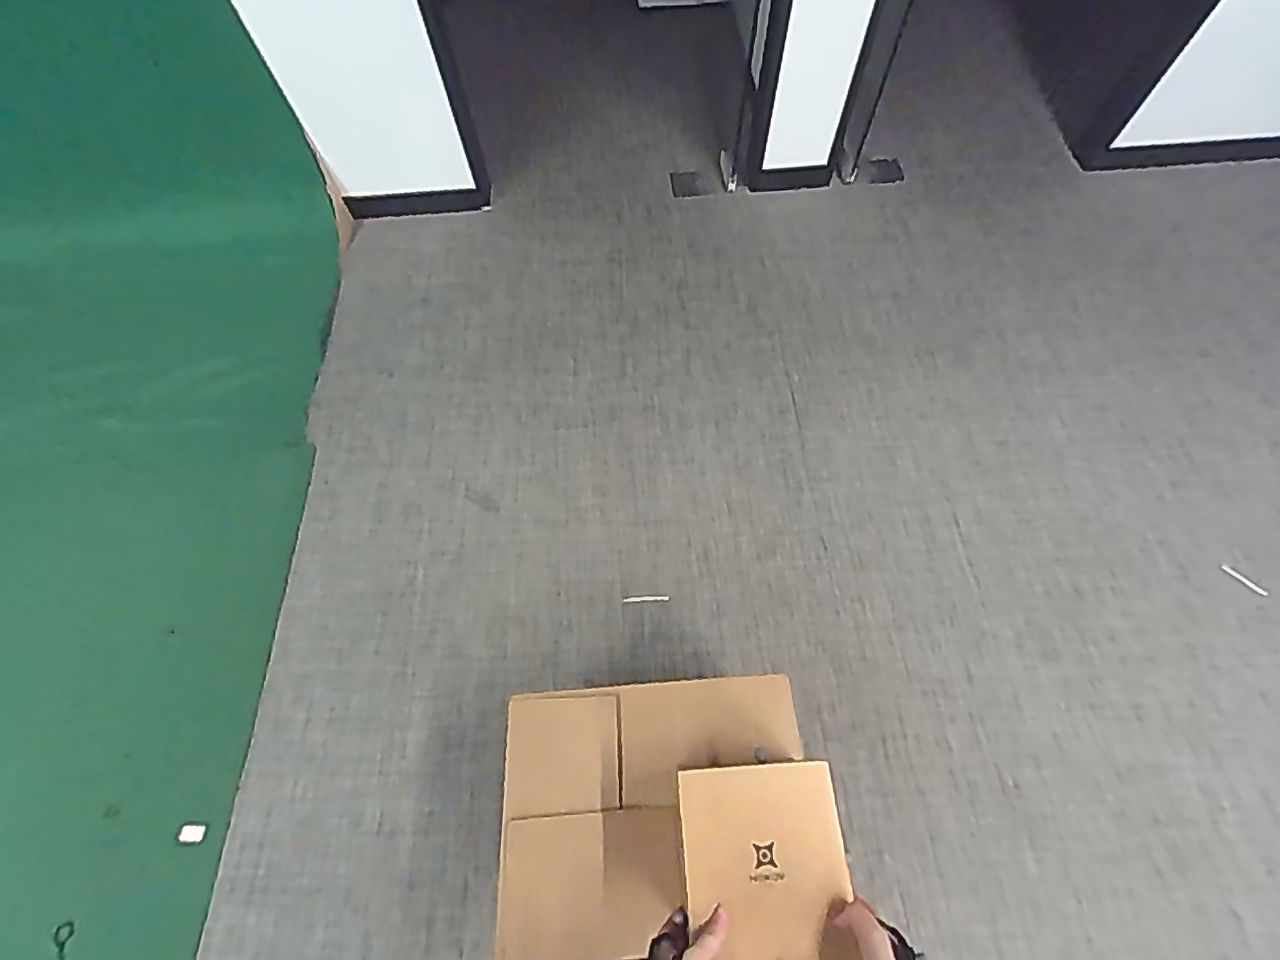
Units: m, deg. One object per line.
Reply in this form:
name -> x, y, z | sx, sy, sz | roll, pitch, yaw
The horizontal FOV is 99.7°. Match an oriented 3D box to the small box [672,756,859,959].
small box -> 0.126, 0.418, 0.622 | 0.168, 0.176, 0.179 | -4, 65, 0
